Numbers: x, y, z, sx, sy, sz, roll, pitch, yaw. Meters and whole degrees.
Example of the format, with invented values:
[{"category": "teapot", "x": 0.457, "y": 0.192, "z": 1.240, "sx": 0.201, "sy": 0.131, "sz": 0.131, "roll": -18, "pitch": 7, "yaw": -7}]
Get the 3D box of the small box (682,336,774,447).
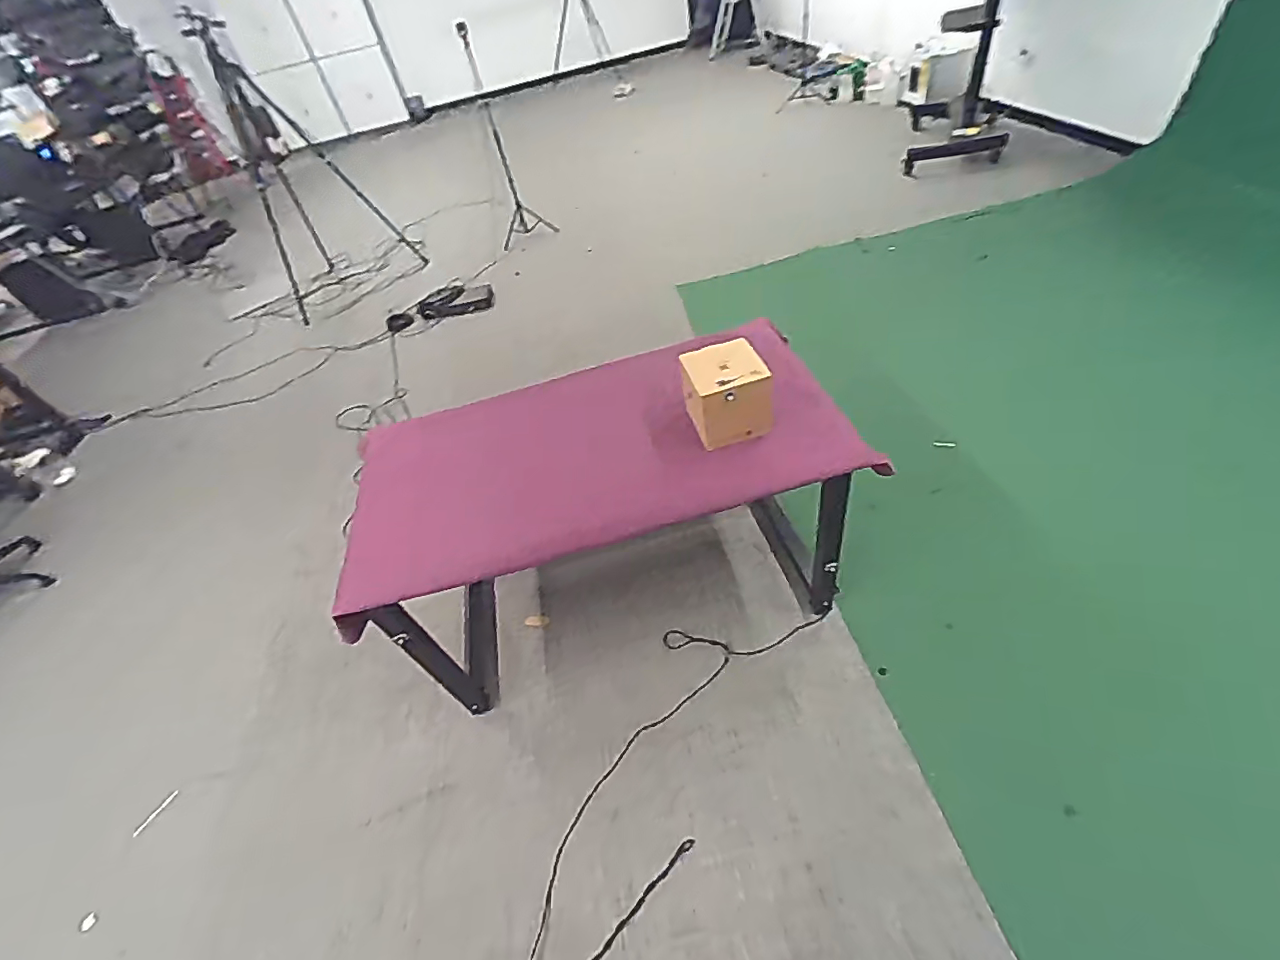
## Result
[{"category": "small box", "x": 0.207, "y": -0.208, "z": 1.279, "sx": 0.168, "sy": 0.176, "sz": 0.179, "roll": -17, "pitch": 44, "yaw": -1}]
